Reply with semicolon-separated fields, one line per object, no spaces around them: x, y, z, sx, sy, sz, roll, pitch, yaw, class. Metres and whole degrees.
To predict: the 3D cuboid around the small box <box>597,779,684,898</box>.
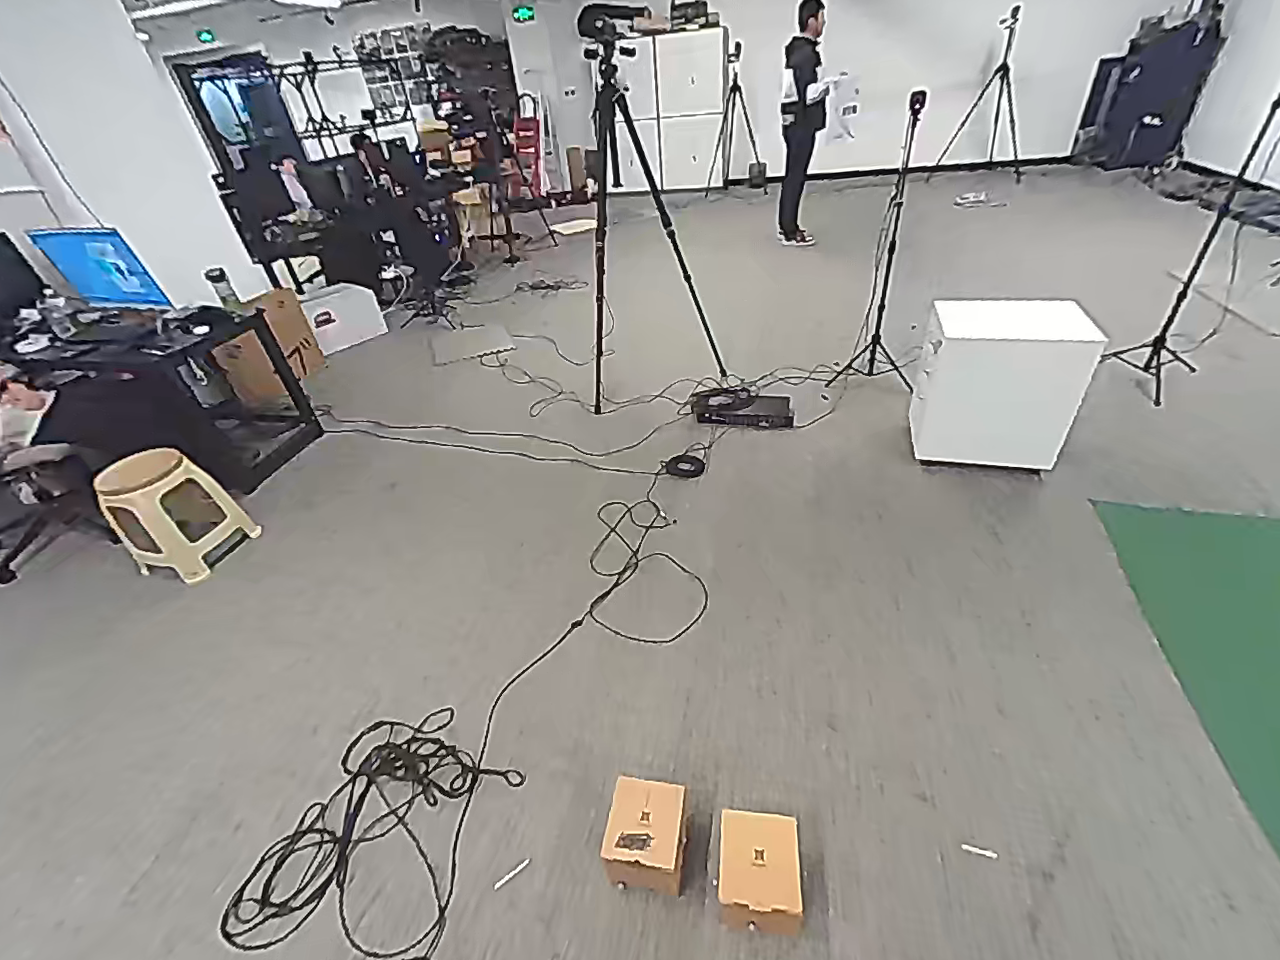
0.010;0.835;1.258;0.168;0.176;0.179;3;37;12;small box

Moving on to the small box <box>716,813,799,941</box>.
0.252;0.866;1.182;0.168;0.176;0.179;1;38;10;small box
